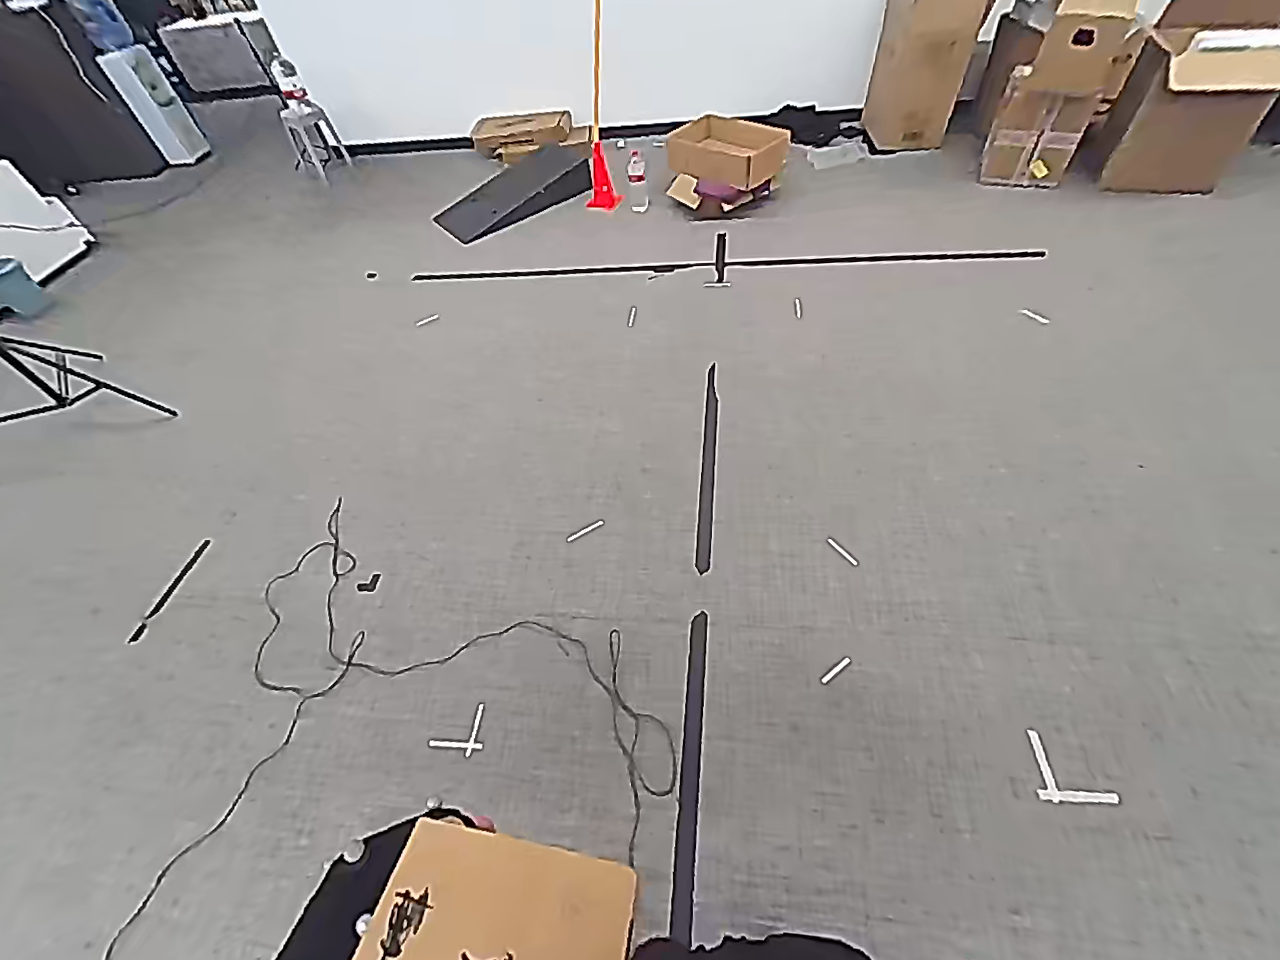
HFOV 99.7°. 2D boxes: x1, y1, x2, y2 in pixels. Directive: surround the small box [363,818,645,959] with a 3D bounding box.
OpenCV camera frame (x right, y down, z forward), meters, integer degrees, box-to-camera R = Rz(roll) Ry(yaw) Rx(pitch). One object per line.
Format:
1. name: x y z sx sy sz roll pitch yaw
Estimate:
1. small box: -0.105 0.389 0.395 0.179 0.176 0.168 11 35 5
